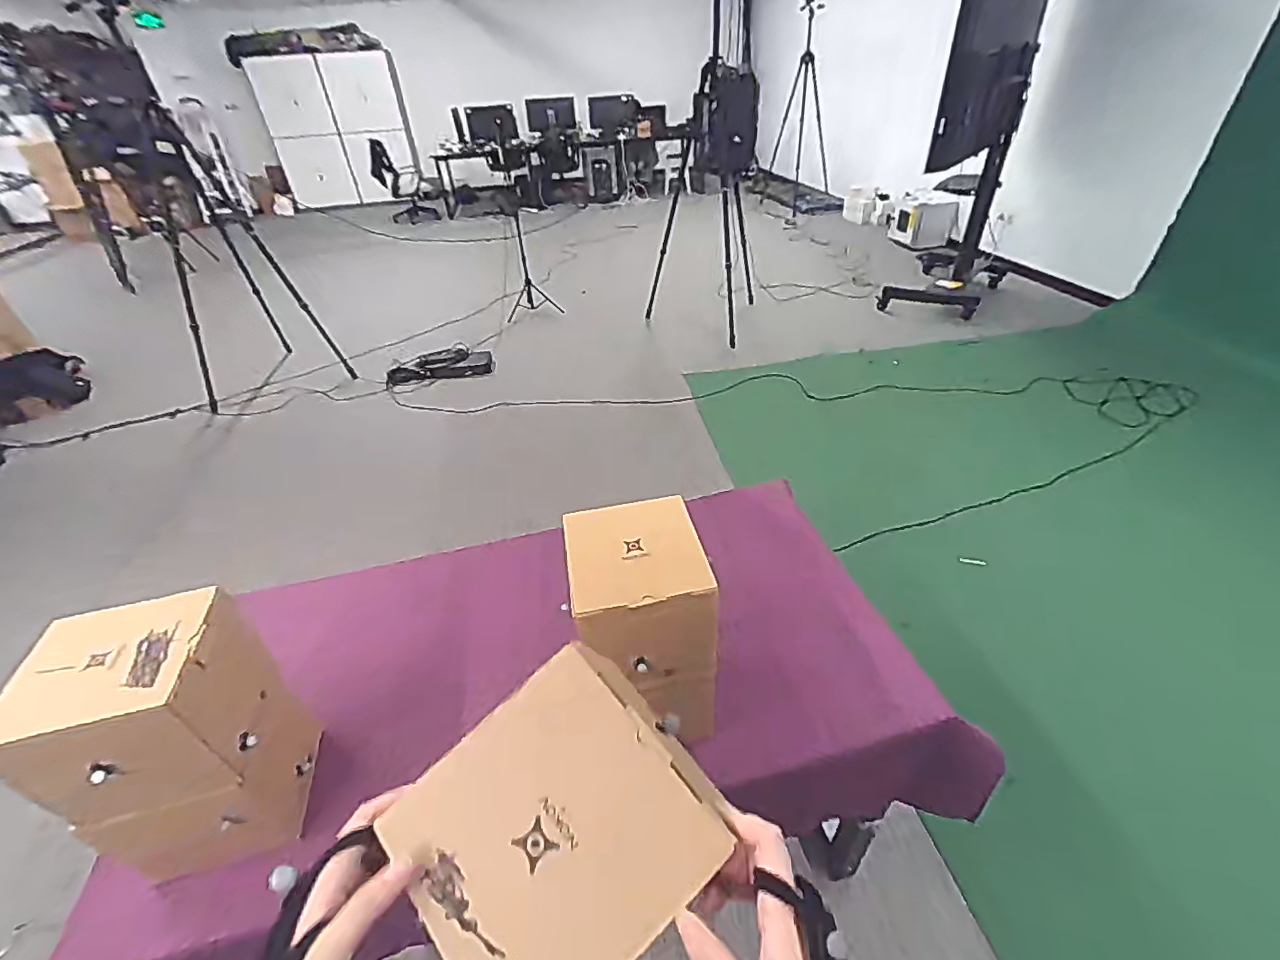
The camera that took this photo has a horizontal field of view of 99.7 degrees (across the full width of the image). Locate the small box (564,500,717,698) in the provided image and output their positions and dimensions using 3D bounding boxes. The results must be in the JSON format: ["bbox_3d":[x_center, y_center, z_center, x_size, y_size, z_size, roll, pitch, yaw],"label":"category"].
[{"bbox_3d":[-0.005,0.153,0.711,0.168,0.176,0.179,-9,39,-7],"label":"small box"}]

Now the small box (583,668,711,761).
[{"bbox_3d":[0.002,0.282,0.810,0.168,0.176,0.179,-10,38,-6],"label":"small box"}]

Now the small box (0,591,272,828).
[{"bbox_3d":[-0.564,0.259,0.620,0.179,0.176,0.168,-12,38,-11],"label":"small box"}]
